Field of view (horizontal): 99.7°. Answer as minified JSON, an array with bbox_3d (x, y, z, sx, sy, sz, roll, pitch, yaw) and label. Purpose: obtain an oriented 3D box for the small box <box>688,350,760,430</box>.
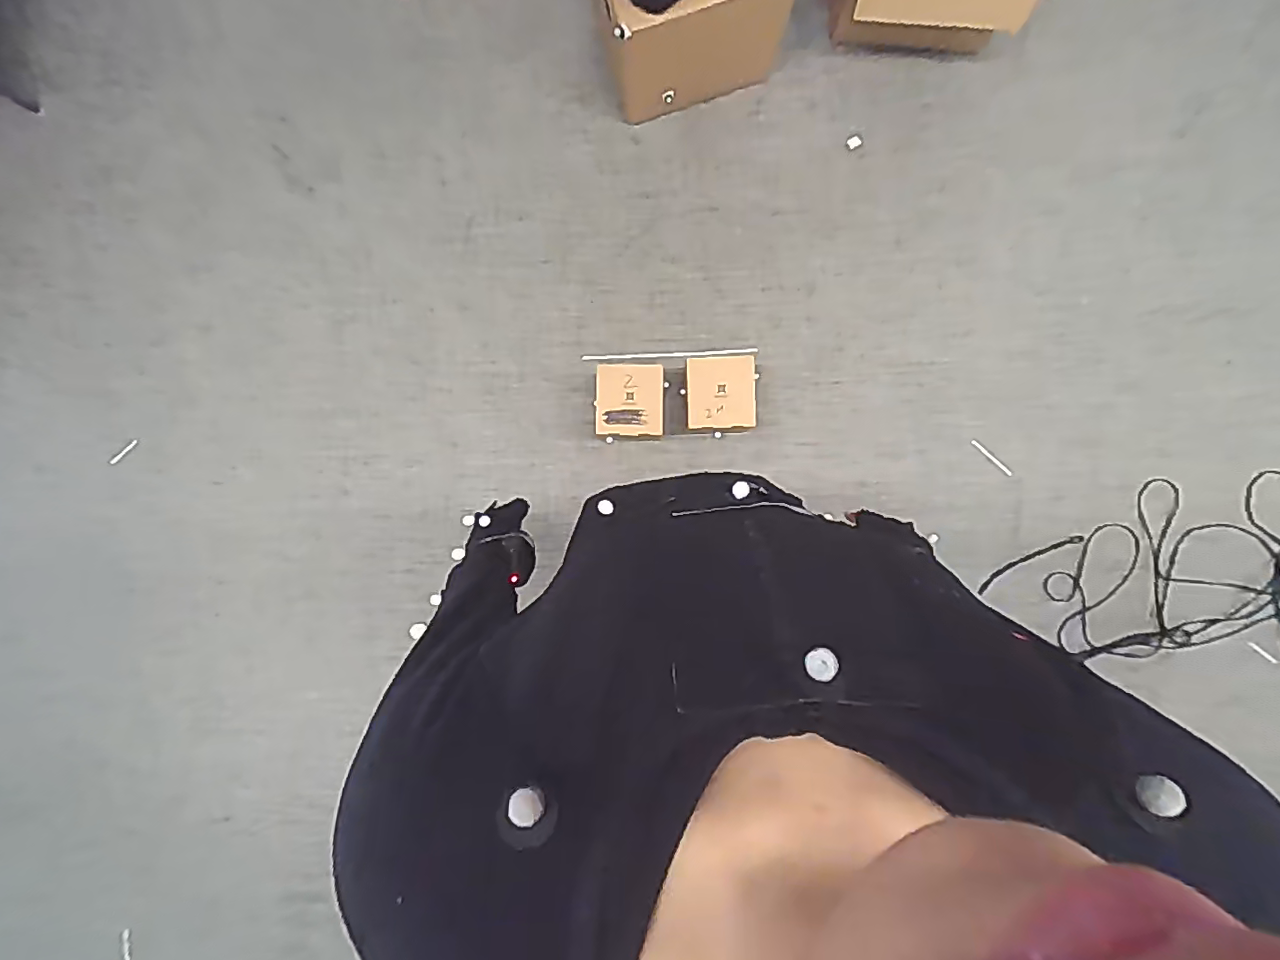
[{"bbox_3d":[0.209,-0.224,1.382,0.168,0.176,0.179,-2,91,3],"label":"small box"}]
